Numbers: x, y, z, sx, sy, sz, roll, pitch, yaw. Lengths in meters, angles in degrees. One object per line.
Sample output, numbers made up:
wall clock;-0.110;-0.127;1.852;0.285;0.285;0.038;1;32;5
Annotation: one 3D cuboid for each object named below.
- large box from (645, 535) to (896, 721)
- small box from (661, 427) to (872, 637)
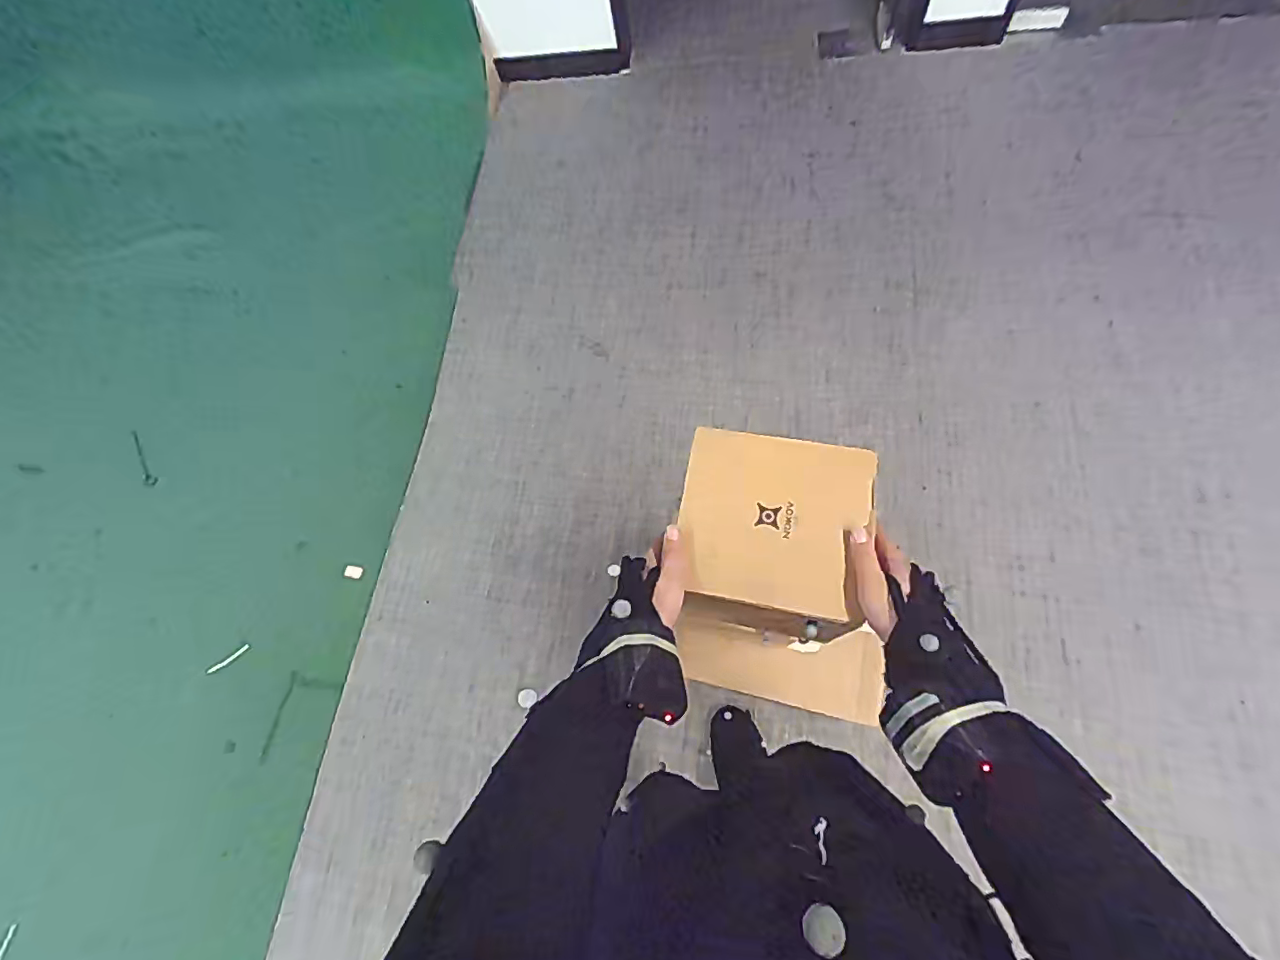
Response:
large box;0.249;0.268;1.090;0.408;0.320;0.320;10;73;12
small box;0.128;0.063;0.572;0.179;0.176;0.168;9;70;10
